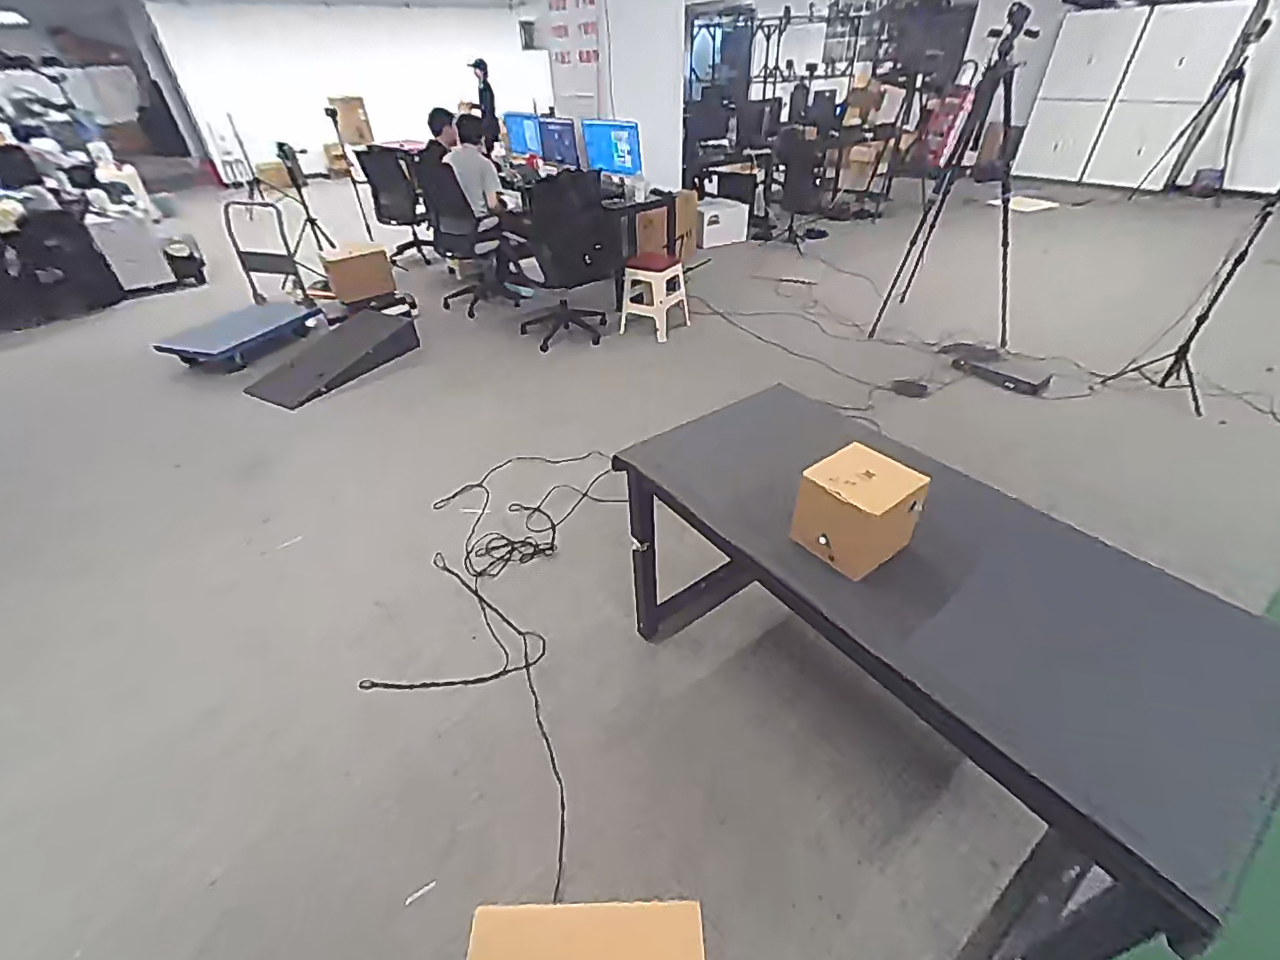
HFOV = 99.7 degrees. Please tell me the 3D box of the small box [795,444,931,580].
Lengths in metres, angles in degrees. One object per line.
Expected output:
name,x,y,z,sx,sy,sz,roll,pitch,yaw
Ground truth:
small box,0.426,0.059,1.059,0.179,0.176,0.168,-25,42,-28
